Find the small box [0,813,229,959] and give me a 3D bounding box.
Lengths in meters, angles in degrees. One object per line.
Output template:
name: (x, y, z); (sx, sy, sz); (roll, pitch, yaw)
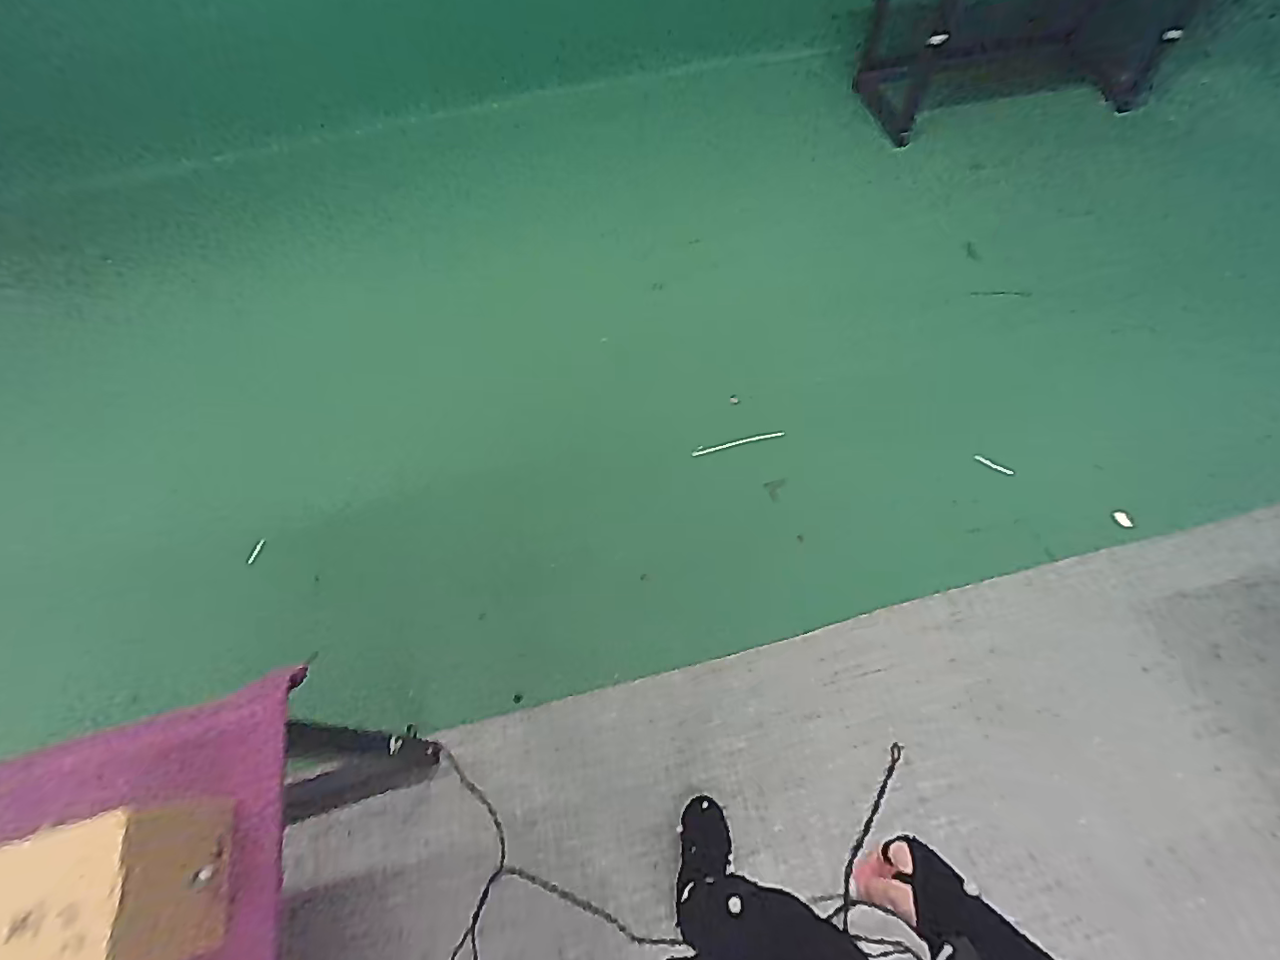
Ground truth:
small box: (-0.625, 0.501, 0.619); (0.179, 0.176, 0.168); (-16, 62, -6)
